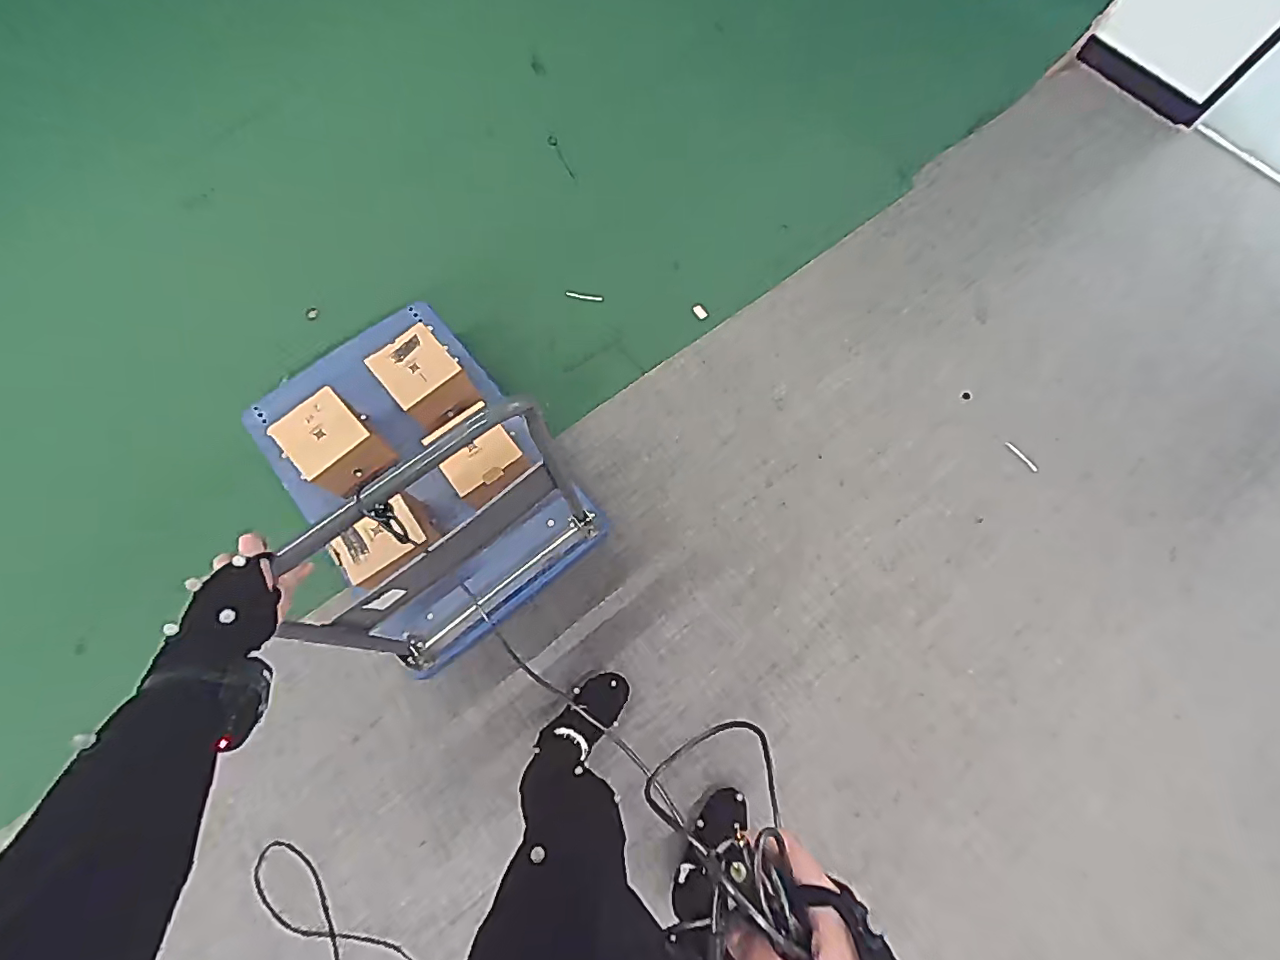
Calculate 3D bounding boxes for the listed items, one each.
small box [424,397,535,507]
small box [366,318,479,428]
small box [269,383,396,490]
[{"bbox_3d":[-0.376,-0.060,1.291,0.168,0.176,0.179,-37,77,-10],"label":"small box"},{"bbox_3d":[-0.536,-0.259,1.353,0.168,0.176,0.179,-40,78,-10],"label":"small box"},{"bbox_3d":[-0.728,-0.095,1.305,0.168,0.176,0.179,-42,77,-12],"label":"small box"}]
